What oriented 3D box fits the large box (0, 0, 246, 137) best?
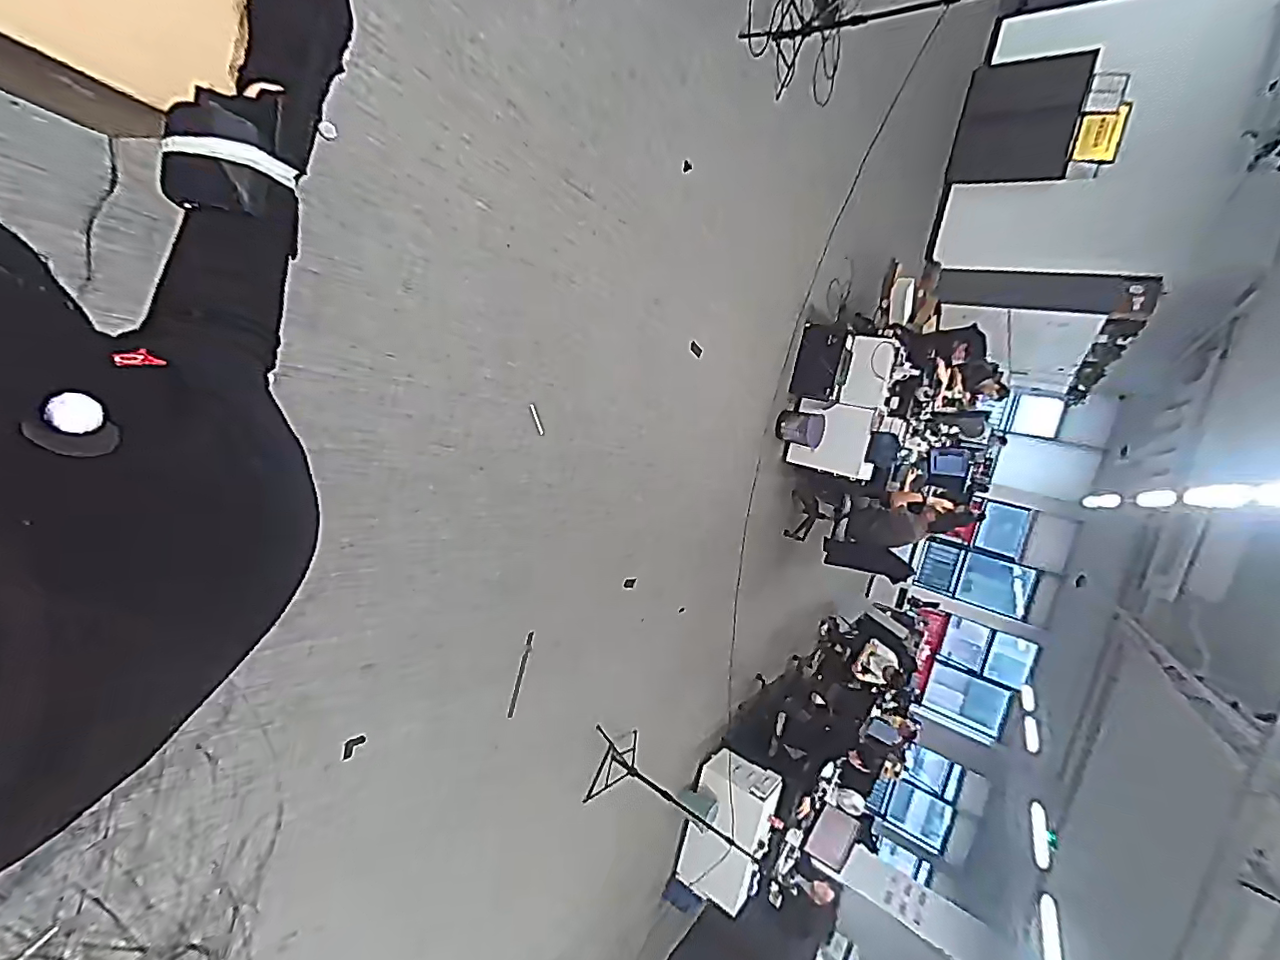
[{"bbox_3d":[-0.495,-0.456,0.295,0.408,0.320,0.320,6,106,-59],"label":"large box"}]
